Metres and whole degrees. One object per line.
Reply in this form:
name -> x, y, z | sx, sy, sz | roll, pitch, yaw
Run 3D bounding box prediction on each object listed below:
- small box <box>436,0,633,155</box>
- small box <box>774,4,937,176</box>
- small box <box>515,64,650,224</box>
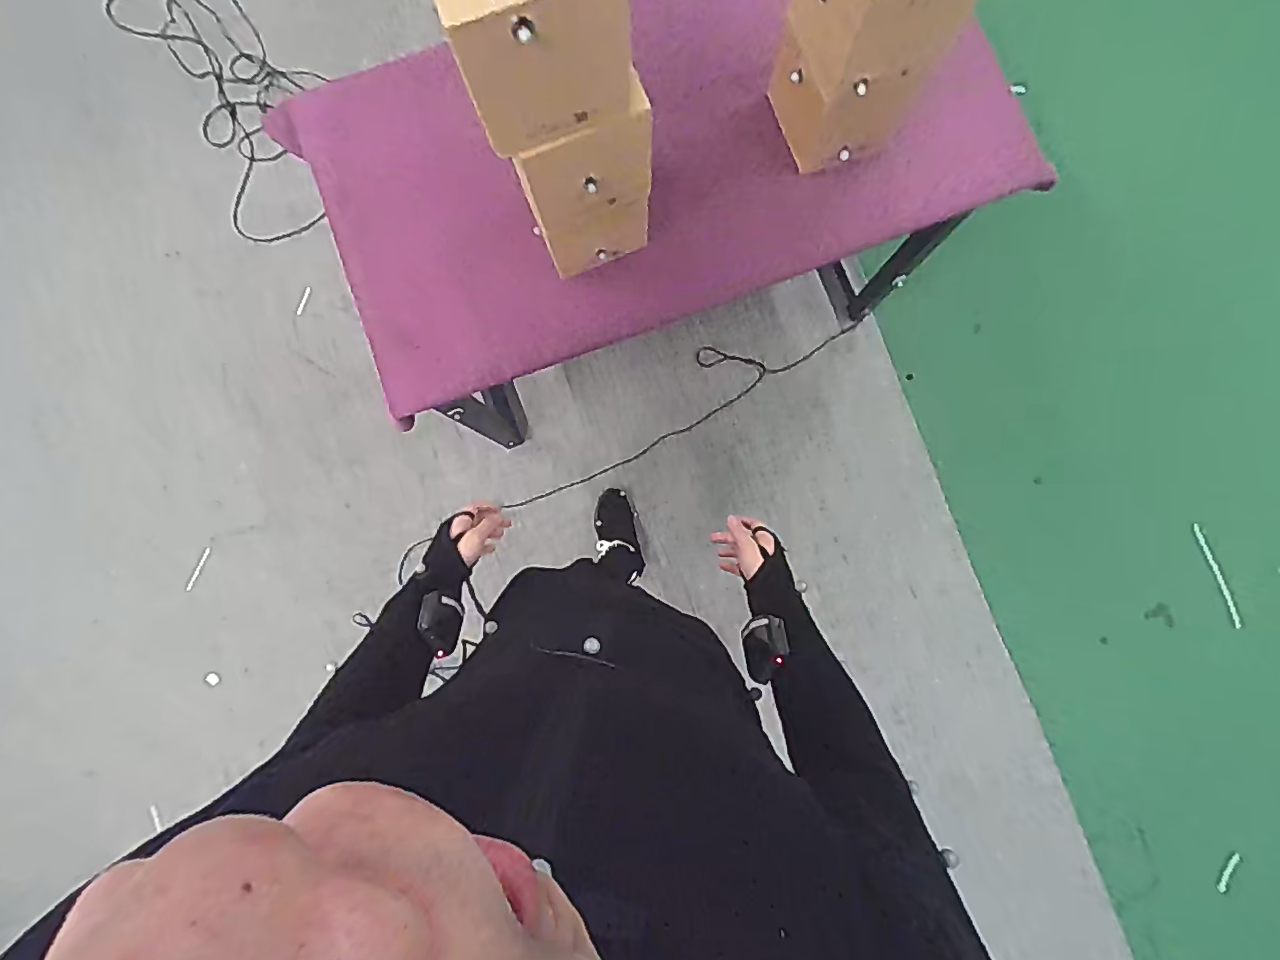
small box -> -0.111, -0.475, 0.538 | 0.168, 0.176, 0.179 | -19, 85, 0
small box -> 0.331, -0.639, 0.871 | 0.168, 0.176, 0.179 | -18, 85, 1
small box -> -0.090, -0.464, 0.701 | 0.168, 0.176, 0.179 | -22, 85, -1
